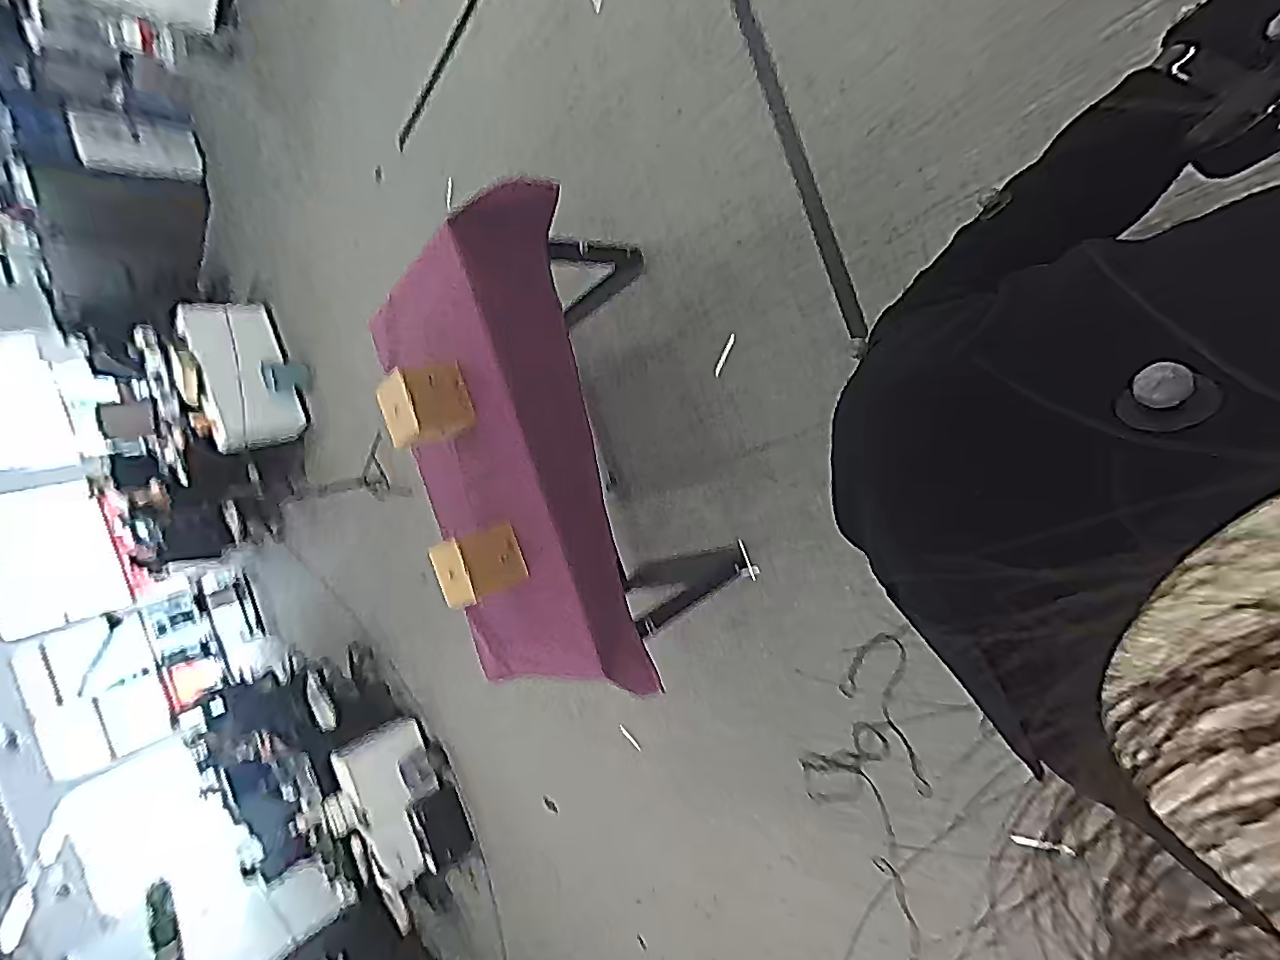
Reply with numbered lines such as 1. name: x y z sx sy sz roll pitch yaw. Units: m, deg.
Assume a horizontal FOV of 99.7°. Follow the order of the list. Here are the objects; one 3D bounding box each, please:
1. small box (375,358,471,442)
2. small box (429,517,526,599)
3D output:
1. small box: -0.575 -0.217 1.453 0.179 0.176 0.168 -19 90 45
2. small box: -0.441 0.211 1.475 0.179 0.176 0.168 -21 89 44
